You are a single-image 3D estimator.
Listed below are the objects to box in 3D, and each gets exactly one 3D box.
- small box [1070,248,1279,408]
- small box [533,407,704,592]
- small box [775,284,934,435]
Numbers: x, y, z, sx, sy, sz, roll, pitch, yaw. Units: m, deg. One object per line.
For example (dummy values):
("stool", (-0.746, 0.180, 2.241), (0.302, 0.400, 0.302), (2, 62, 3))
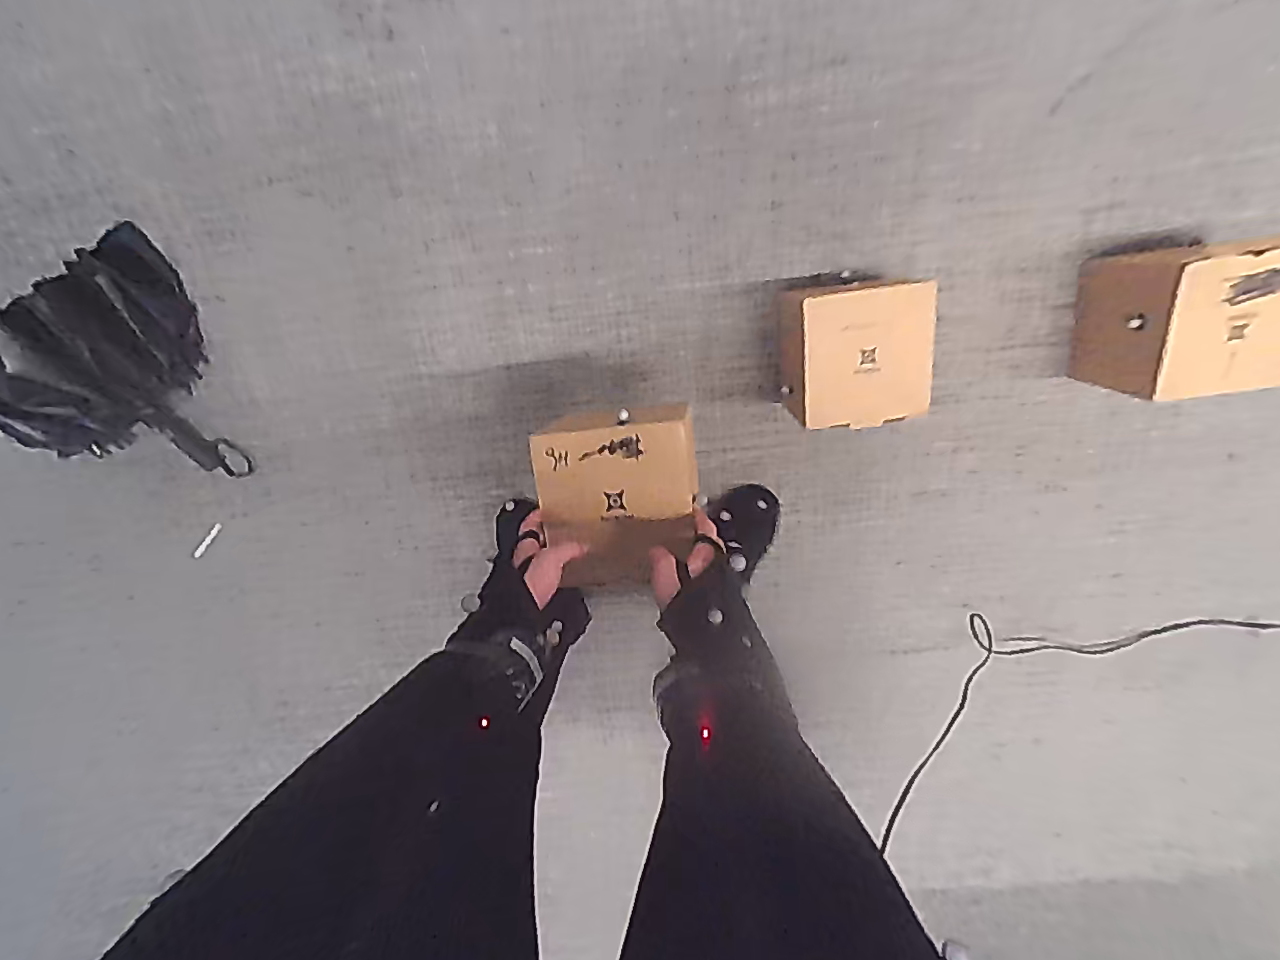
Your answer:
("small box", (0.733, -0.211, 0.737), (0.168, 0.176, 0.179), (-7, 111, 6))
("small box", (-0.012, 0.016, 0.645), (0.168, 0.176, 0.179), (-4, 105, 9))
("small box", (0.295, -0.178, 0.775), (0.168, 0.176, 0.179), (-7, 110, 4))
